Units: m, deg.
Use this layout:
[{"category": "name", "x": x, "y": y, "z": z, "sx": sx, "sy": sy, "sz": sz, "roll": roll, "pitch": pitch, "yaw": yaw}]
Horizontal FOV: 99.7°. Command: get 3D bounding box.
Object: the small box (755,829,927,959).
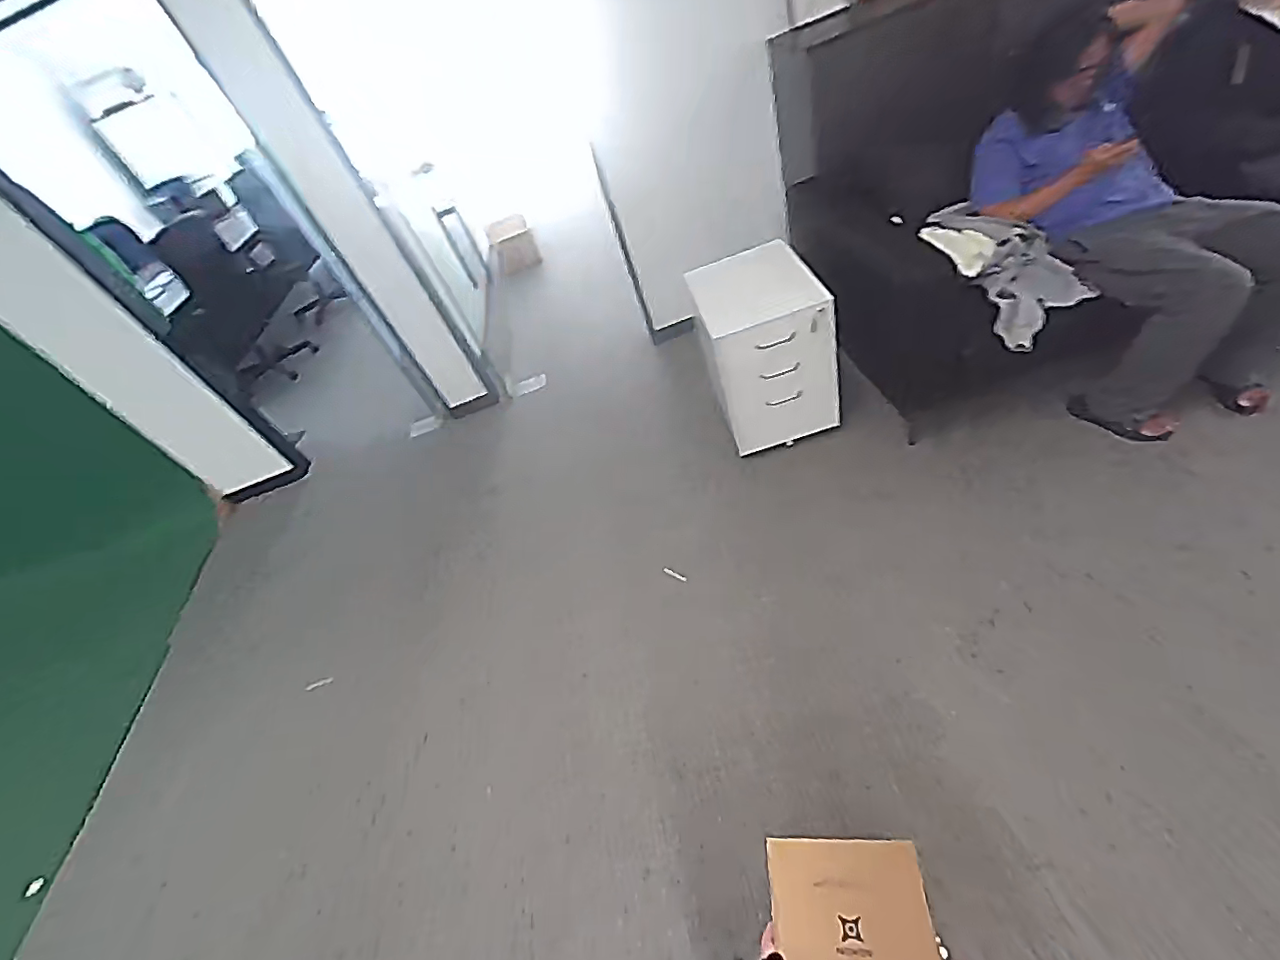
[{"category": "small box", "x": 0.230, "y": 0.535, "z": 0.631, "sx": 0.168, "sy": 0.176, "sz": 0.179, "roll": -6, "pitch": 39, "yaw": 10}]
